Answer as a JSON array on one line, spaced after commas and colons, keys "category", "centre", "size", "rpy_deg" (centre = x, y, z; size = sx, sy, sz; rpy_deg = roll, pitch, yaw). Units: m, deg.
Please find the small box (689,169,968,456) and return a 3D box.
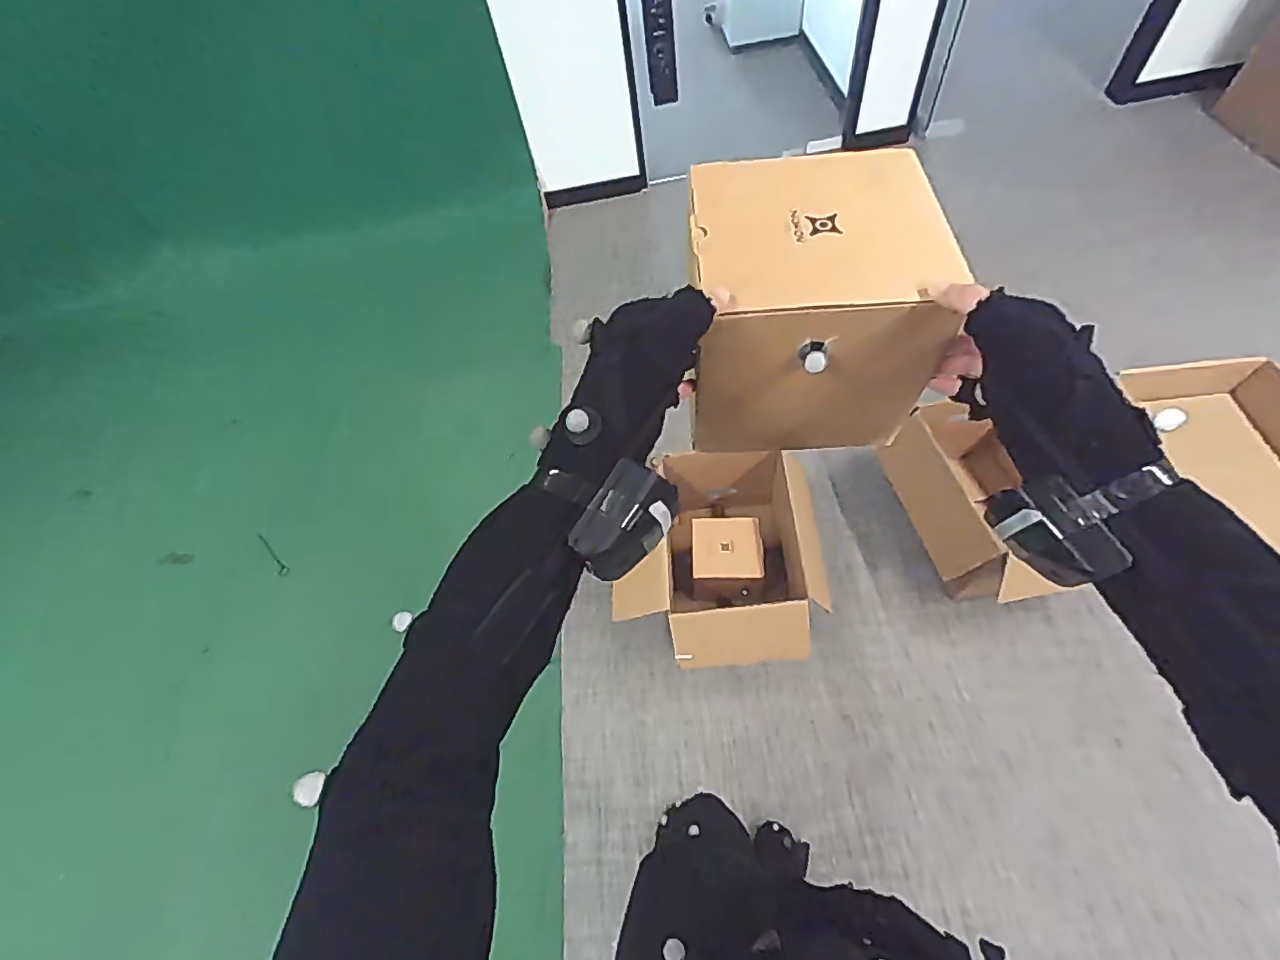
[{"category": "small box", "centre": [0.134, -0.134, 0.466], "size": [0.179, 0.176, 0.168], "rpy_deg": [-3, 59, 3]}]
